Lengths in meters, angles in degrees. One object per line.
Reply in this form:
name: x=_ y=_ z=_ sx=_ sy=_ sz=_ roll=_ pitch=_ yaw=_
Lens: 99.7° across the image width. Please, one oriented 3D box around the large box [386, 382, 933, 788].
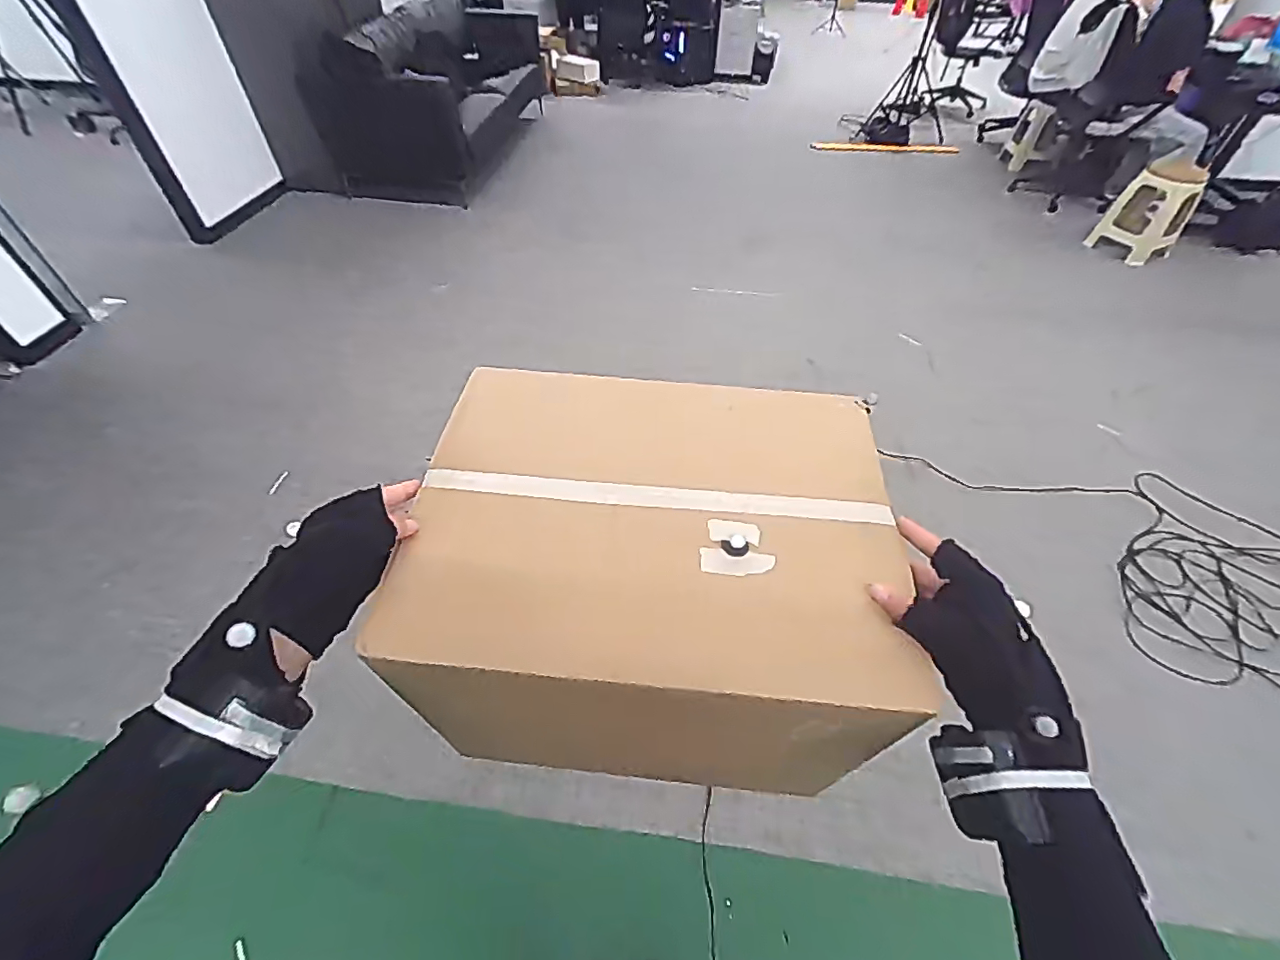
large box: x=0.016 y=0.121 z=0.593 sx=0.408 sy=0.320 sz=0.320 roll=5 pitch=51 yaw=1
